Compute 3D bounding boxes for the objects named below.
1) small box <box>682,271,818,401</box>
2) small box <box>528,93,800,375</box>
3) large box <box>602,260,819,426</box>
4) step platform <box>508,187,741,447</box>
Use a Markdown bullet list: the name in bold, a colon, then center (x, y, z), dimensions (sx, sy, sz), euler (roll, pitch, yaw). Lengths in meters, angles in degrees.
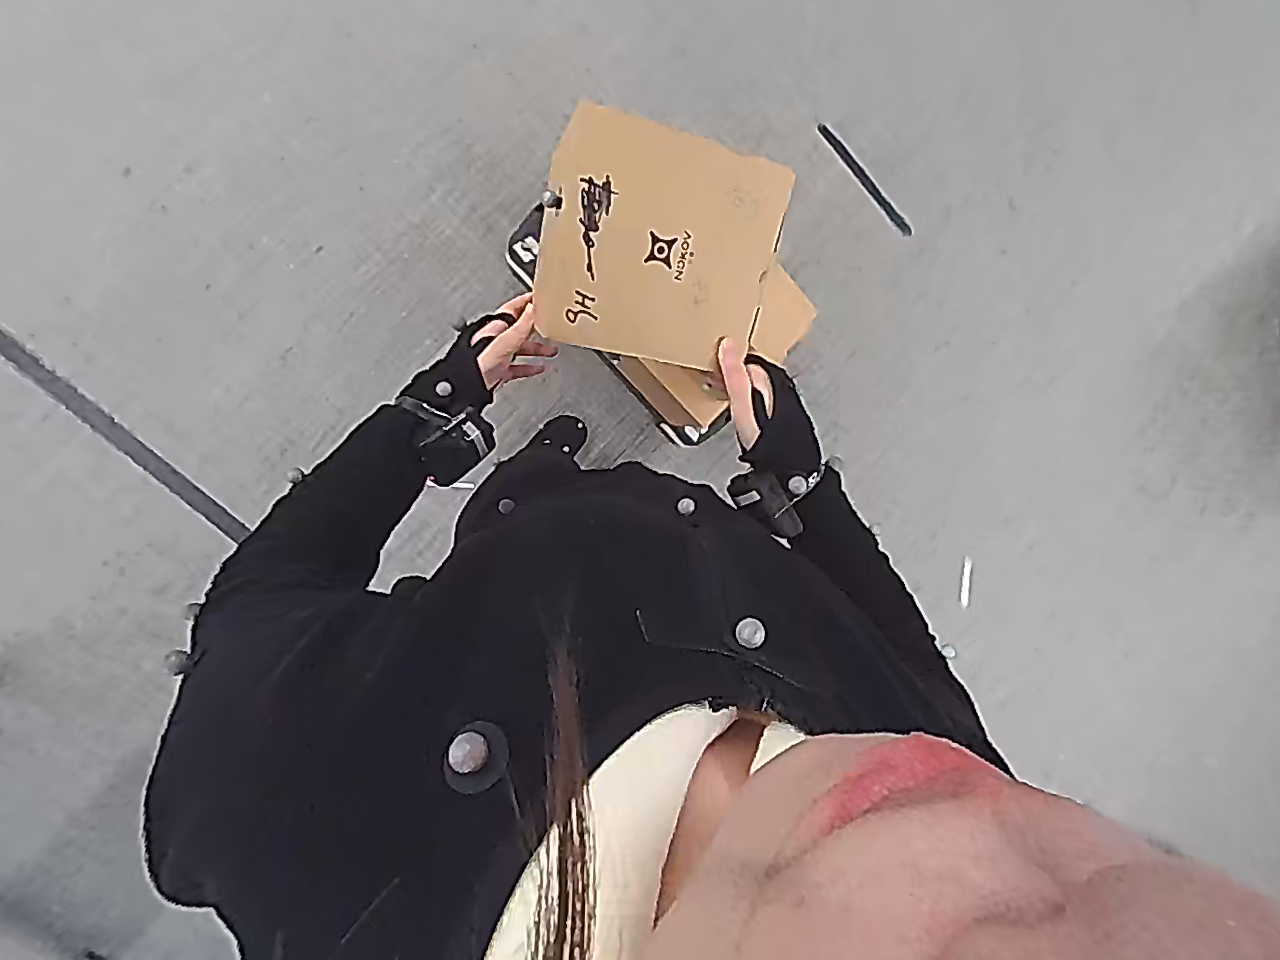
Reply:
- **small box**: center (0.149, -0.249, 0.892), dimensions (0.168, 0.176, 0.179), euler (-45, 101, 0)
- **small box**: center (0.005, -0.201, 0.481), dimensions (0.179, 0.176, 0.168), euler (6, 107, -19)
- **large box**: center (0.073, -0.358, 1.117), dimensions (0.320, 0.320, 0.408), euler (-45, 100, -2)
- **step platform**: center (-0.013, -0.412, 1.340), dimensions (0.286, 0.204, 0.684), euler (-39, 100, -2)
